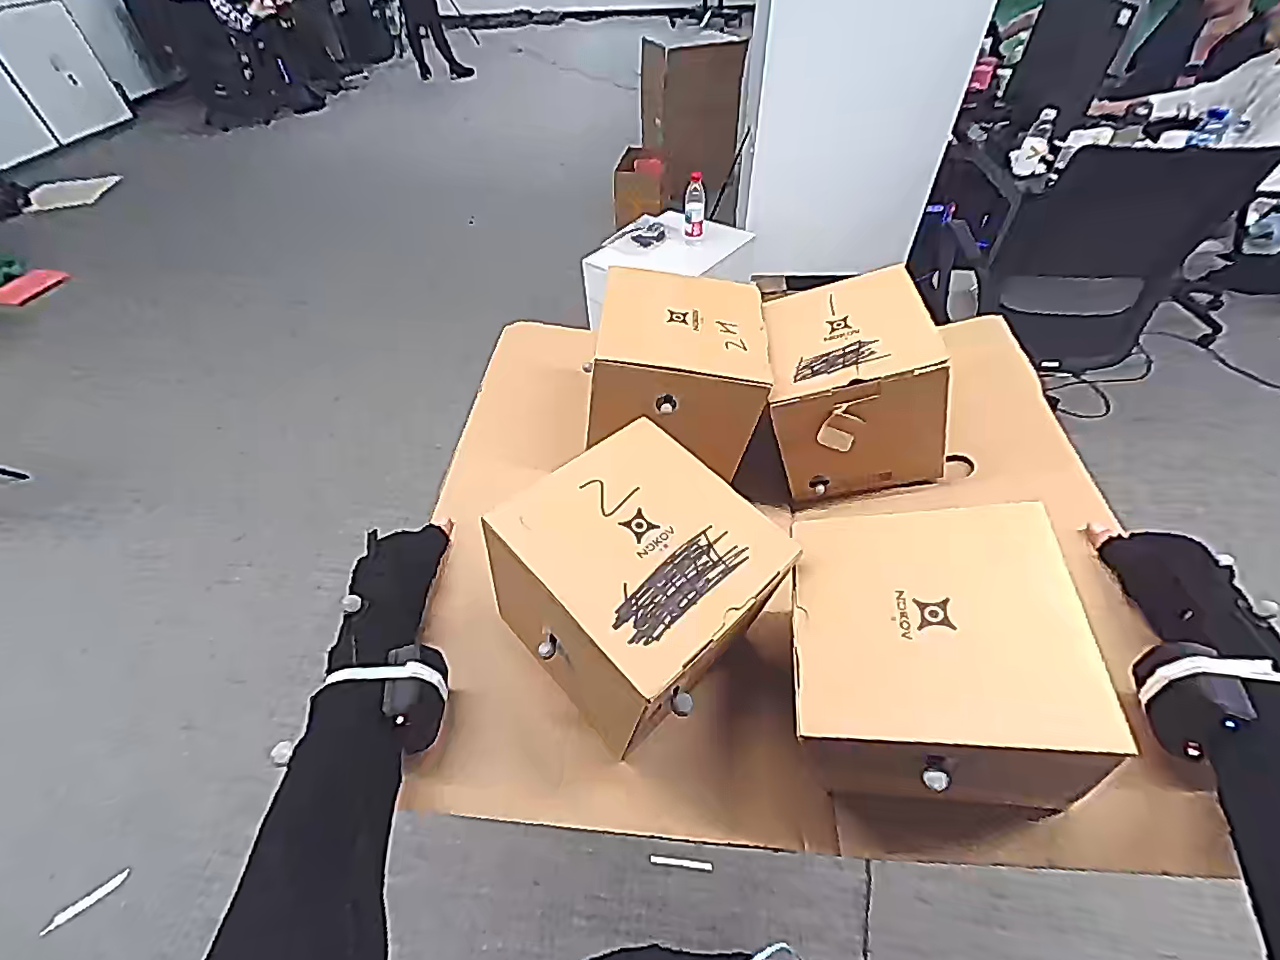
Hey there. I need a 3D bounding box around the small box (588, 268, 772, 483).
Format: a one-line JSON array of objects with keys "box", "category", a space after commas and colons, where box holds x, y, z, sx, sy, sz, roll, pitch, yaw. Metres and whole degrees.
[{"box": [0.037, -0.114, 0.623, 0.179, 0.176, 0.168, 8, 52, -4], "category": "small box"}]
